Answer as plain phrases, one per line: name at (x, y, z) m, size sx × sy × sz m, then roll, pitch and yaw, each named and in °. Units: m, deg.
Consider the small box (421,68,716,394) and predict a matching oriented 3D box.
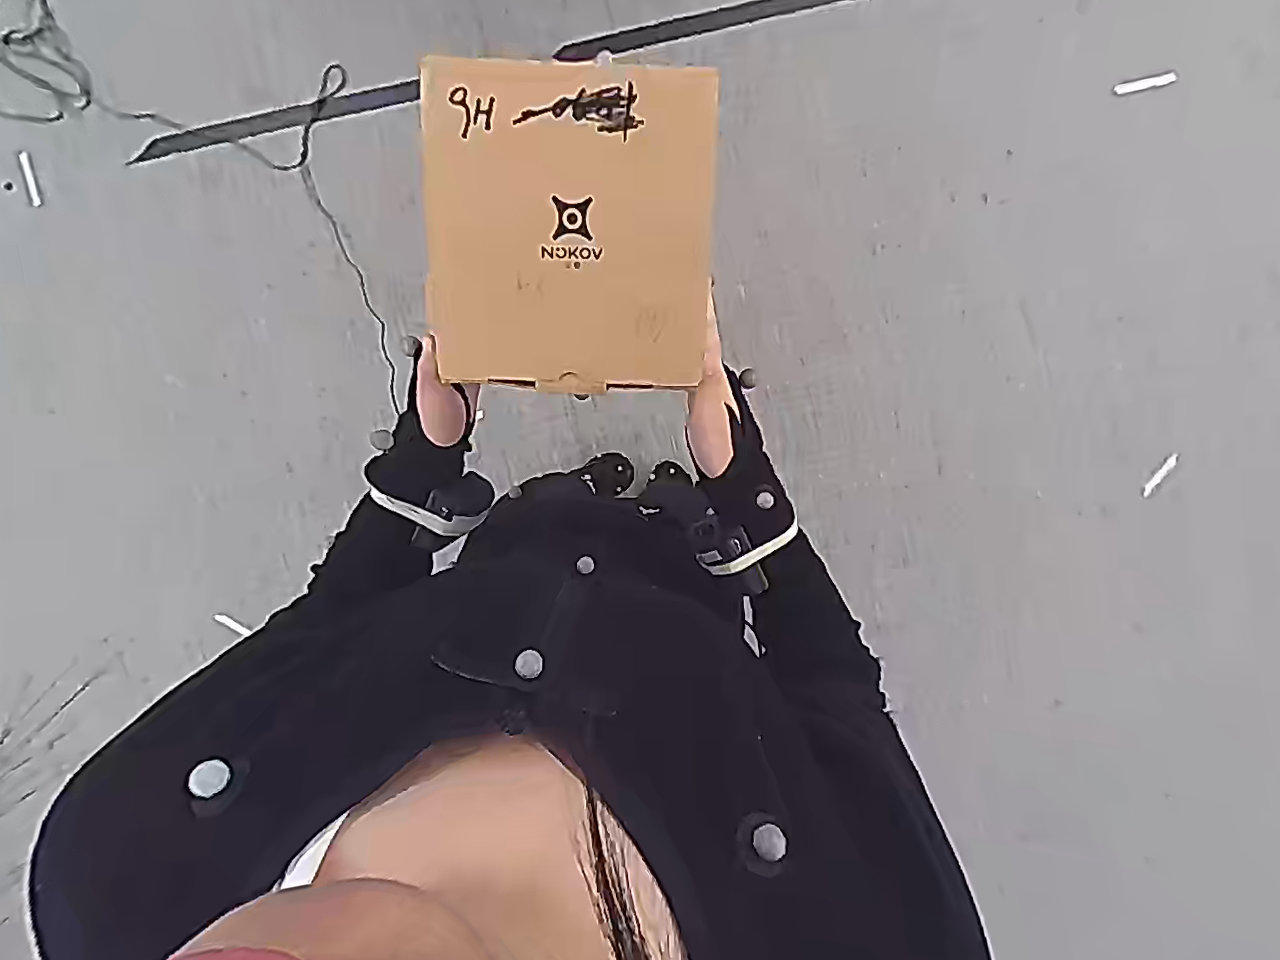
small box at (-0.042, -0.161, 0.396) m, size 0.168 × 0.176 × 0.179 m, roll 1°, pitch 105°, yaw -1°
